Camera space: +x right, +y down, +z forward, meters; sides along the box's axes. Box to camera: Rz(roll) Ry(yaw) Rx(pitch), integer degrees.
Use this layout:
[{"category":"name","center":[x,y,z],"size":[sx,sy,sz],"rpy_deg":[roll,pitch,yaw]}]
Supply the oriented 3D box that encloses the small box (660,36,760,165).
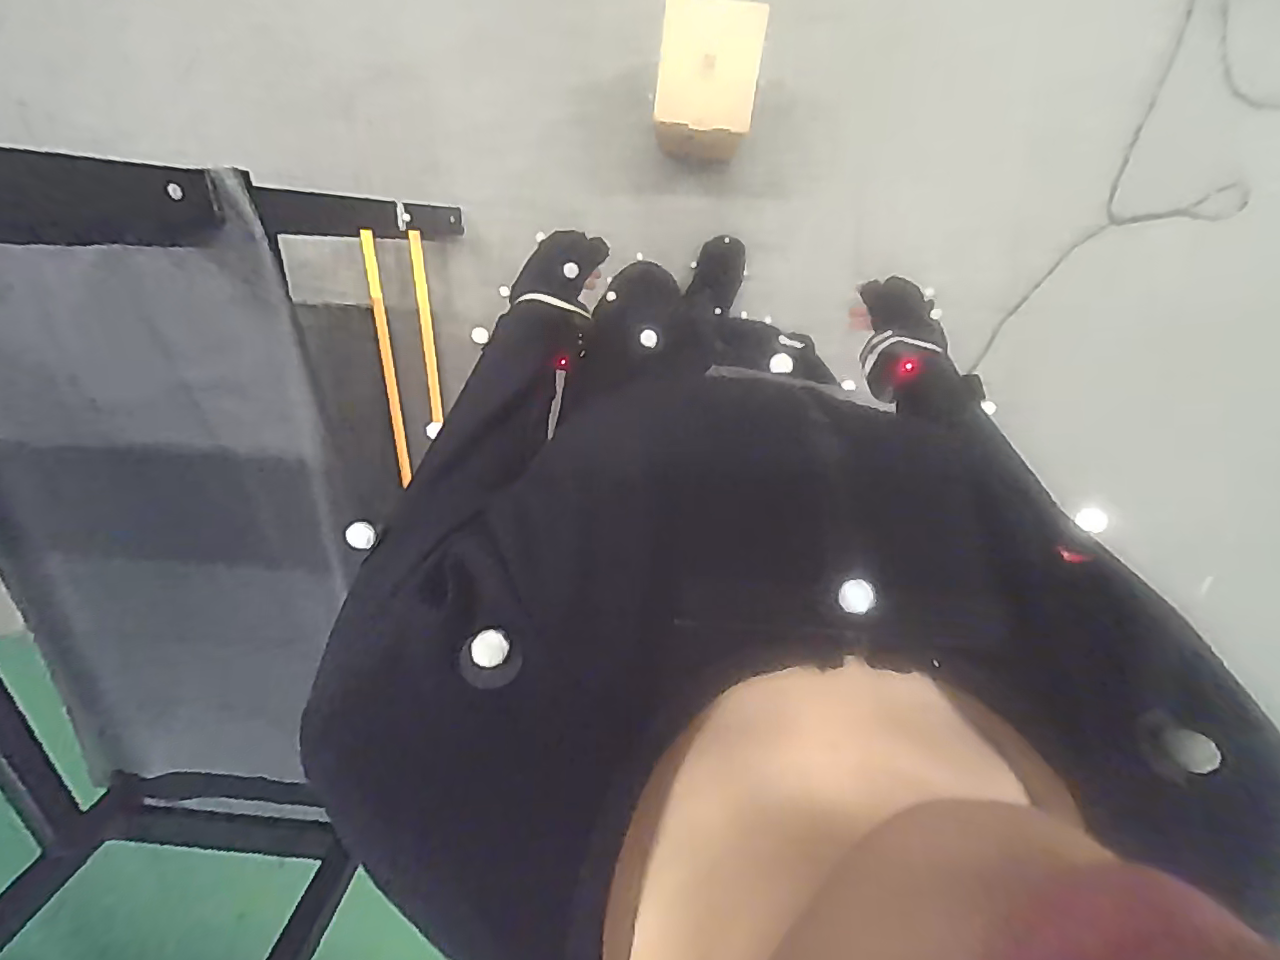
[{"category":"small box","center":[0.137,-0.769,1.113],"size":[0.168,0.176,0.179],"rpy_deg":[10,115,1]}]
